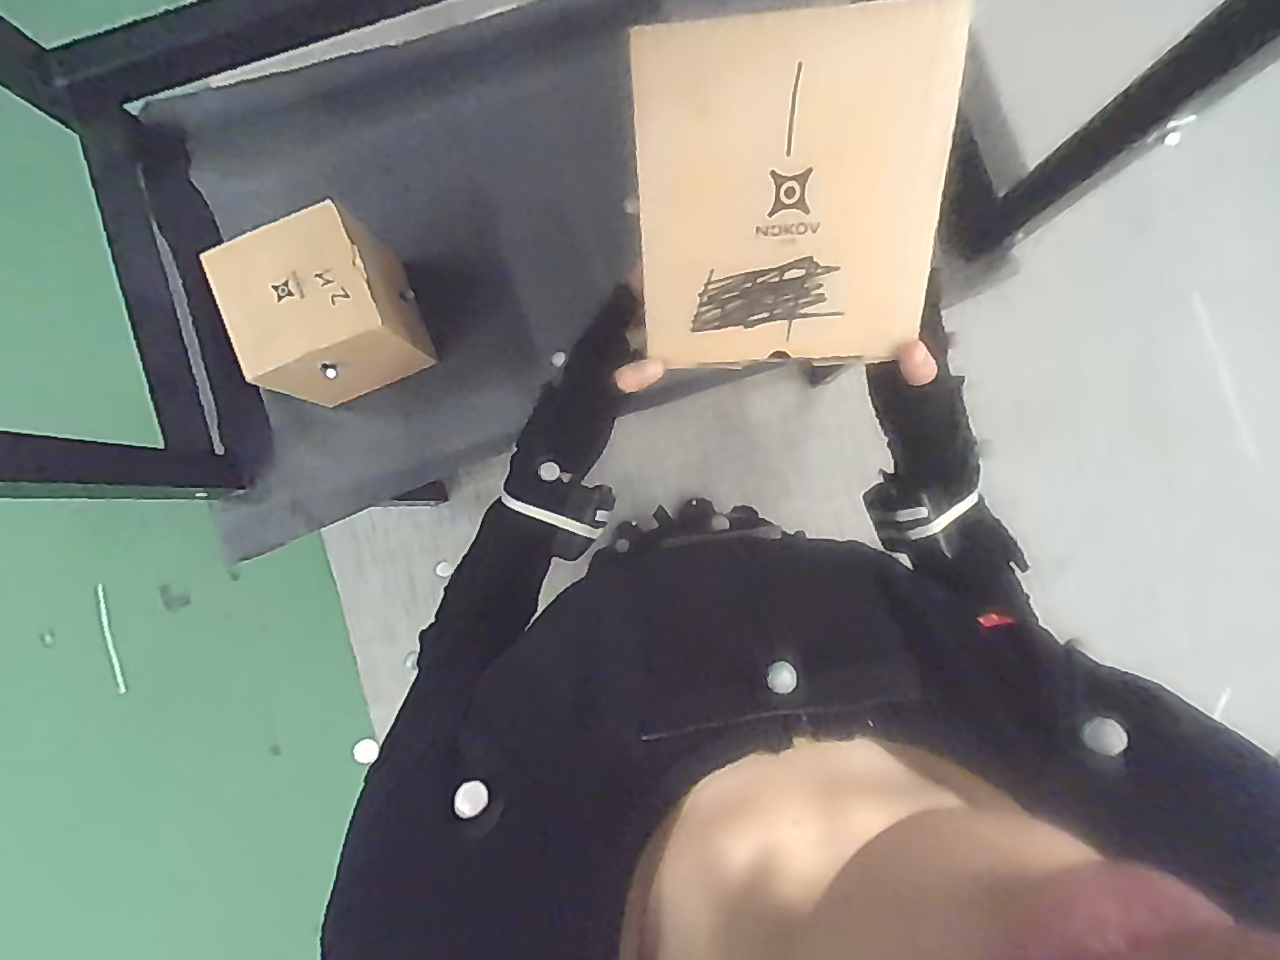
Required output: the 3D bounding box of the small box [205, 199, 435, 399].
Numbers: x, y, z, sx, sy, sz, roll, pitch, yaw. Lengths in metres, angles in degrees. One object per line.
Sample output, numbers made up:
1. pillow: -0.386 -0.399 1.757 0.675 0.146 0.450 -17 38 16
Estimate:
1. small box: -0.405 -0.222 0.714 0.179 0.176 0.168 -22 87 0
